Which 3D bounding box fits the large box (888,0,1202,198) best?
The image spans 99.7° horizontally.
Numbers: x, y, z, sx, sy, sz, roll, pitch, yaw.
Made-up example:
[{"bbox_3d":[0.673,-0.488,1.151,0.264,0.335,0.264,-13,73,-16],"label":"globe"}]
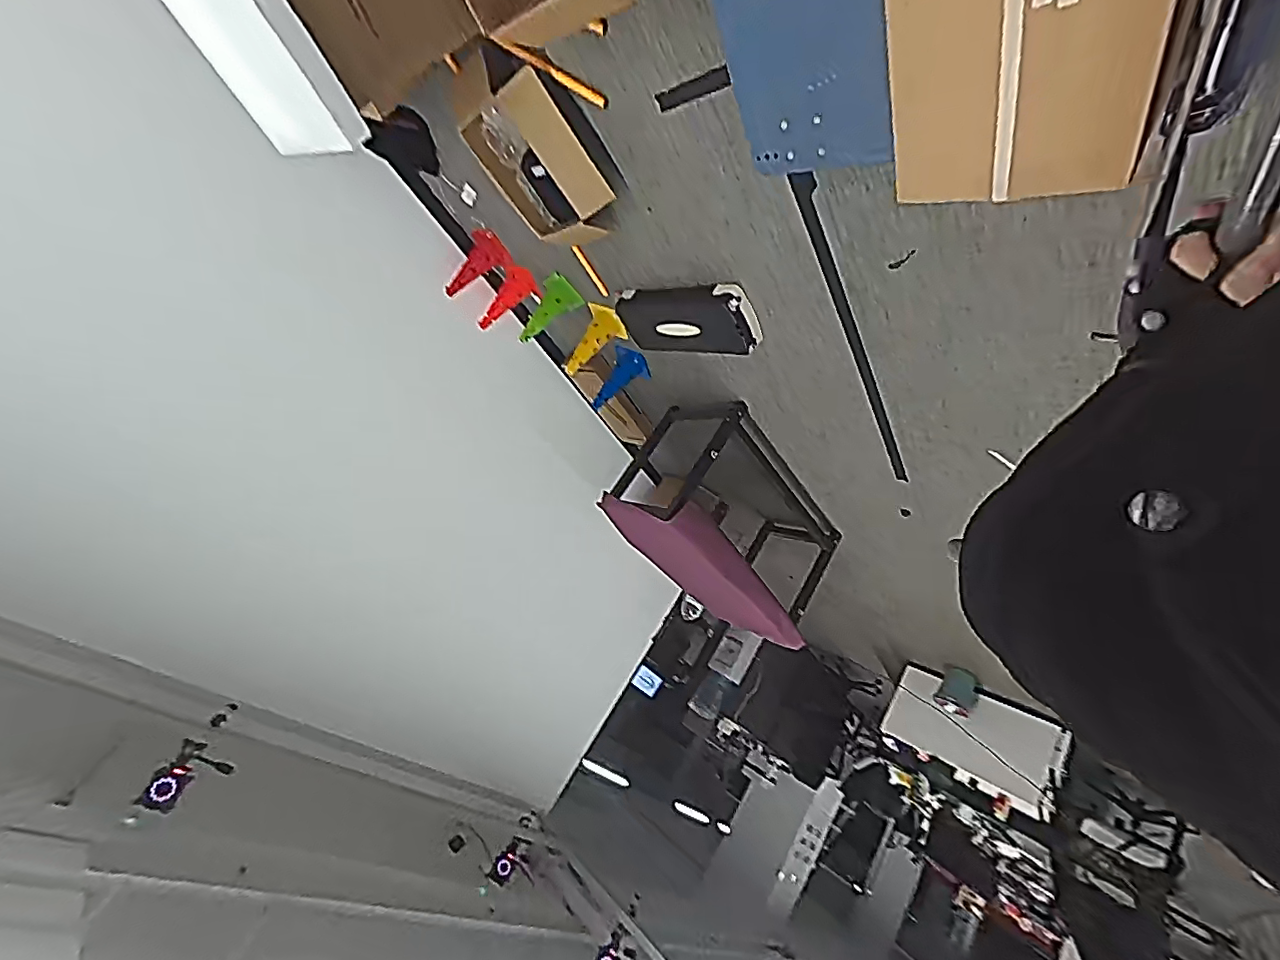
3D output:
[{"bbox_3d":[0.571,-0.679,0.753,0.320,0.320,0.408,19,154,39],"label":"large box"}]
